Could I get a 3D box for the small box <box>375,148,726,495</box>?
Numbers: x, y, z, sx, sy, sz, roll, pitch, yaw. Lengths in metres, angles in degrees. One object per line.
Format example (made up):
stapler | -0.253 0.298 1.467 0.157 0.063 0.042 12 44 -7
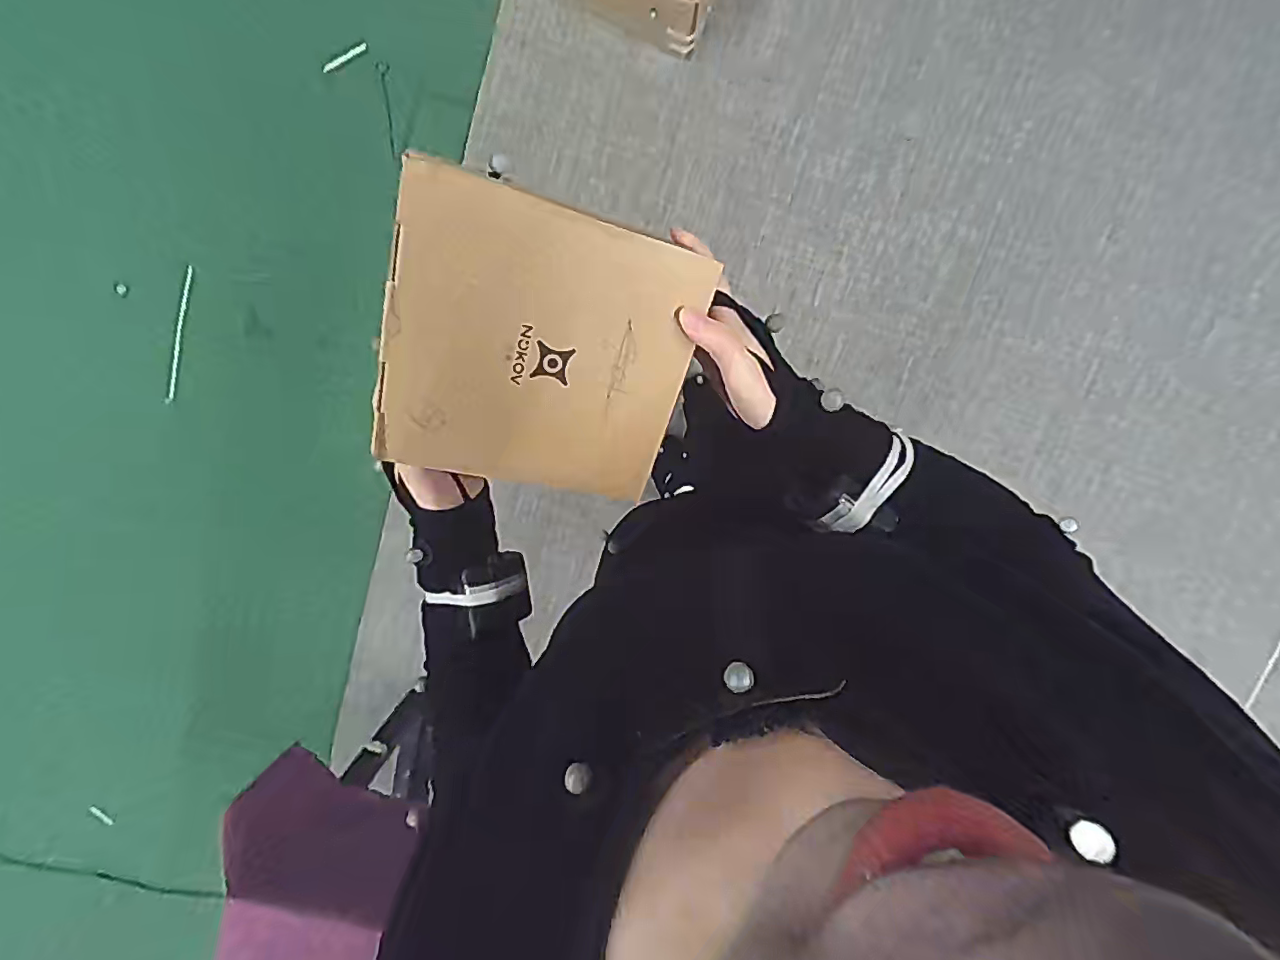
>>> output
small box | -0.073 -0.112 0.388 0.179 0.176 0.168 10 116 -22
